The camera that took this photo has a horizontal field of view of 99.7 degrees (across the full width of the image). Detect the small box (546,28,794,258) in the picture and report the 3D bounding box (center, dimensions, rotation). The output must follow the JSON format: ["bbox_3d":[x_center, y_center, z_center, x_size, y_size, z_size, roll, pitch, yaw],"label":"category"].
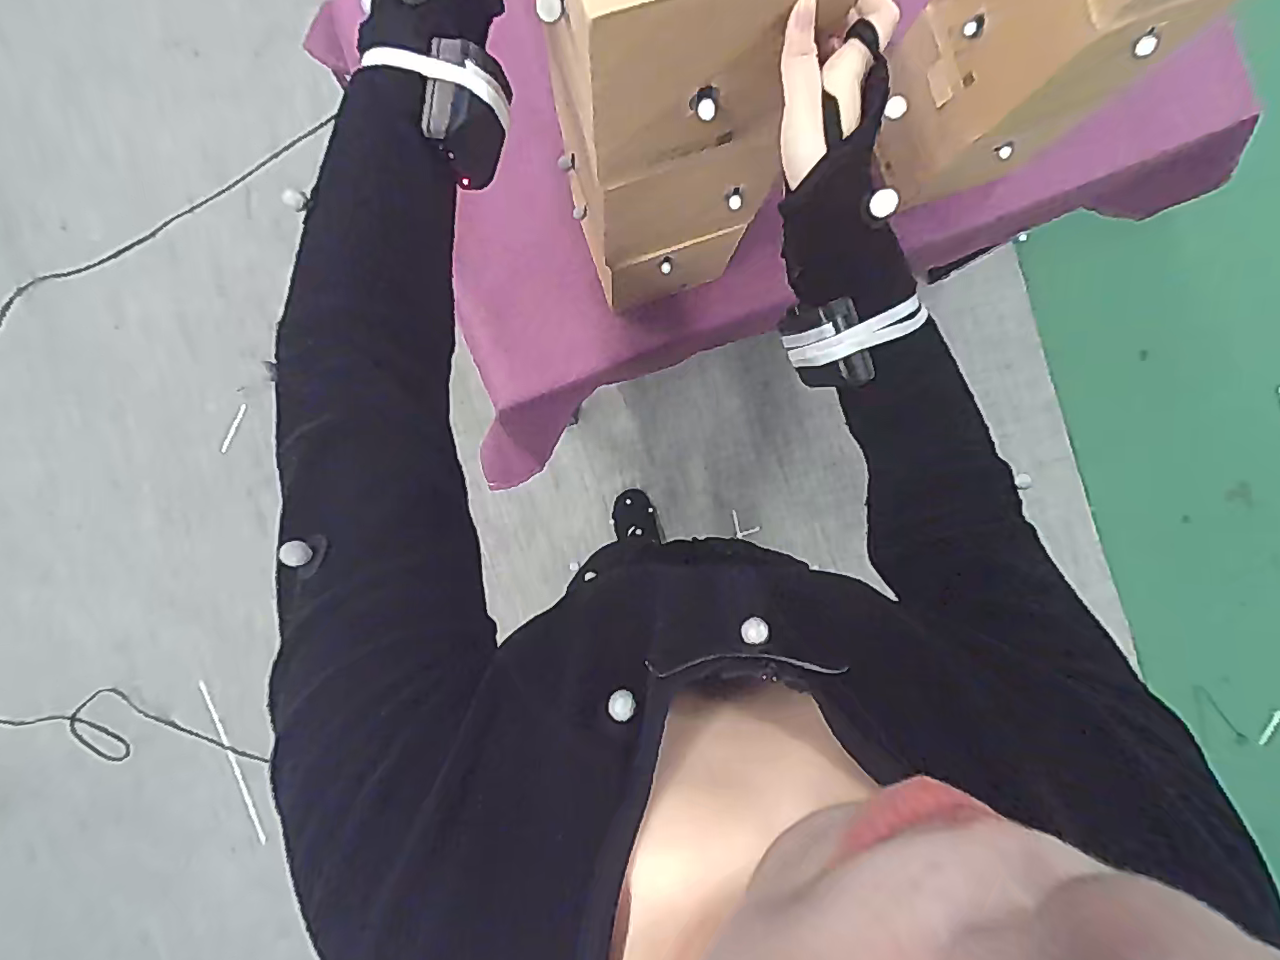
[{"bbox_3d":[0.019,-0.342,0.520,0.179,0.176,0.168,-18,92,-1],"label":"small box"}]

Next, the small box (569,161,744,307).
[{"bbox_3d":[0.012,-0.346,0.683,0.168,0.176,0.179,-19,92,-1],"label":"small box"}]

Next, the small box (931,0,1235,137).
[{"bbox_3d":[0.433,-0.487,0.534,0.179,0.176,0.168,-20,93,-1],"label":"small box"}]

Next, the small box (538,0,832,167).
[{"bbox_3d":[0.019,-0.340,0.355,0.168,0.176,0.179,-17,92,-2],"label":"small box"}]

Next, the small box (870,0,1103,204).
[{"bbox_3d":[0.423,-0.490,0.696,0.179,0.176,0.168,-20,93,-2],"label":"small box"}]
